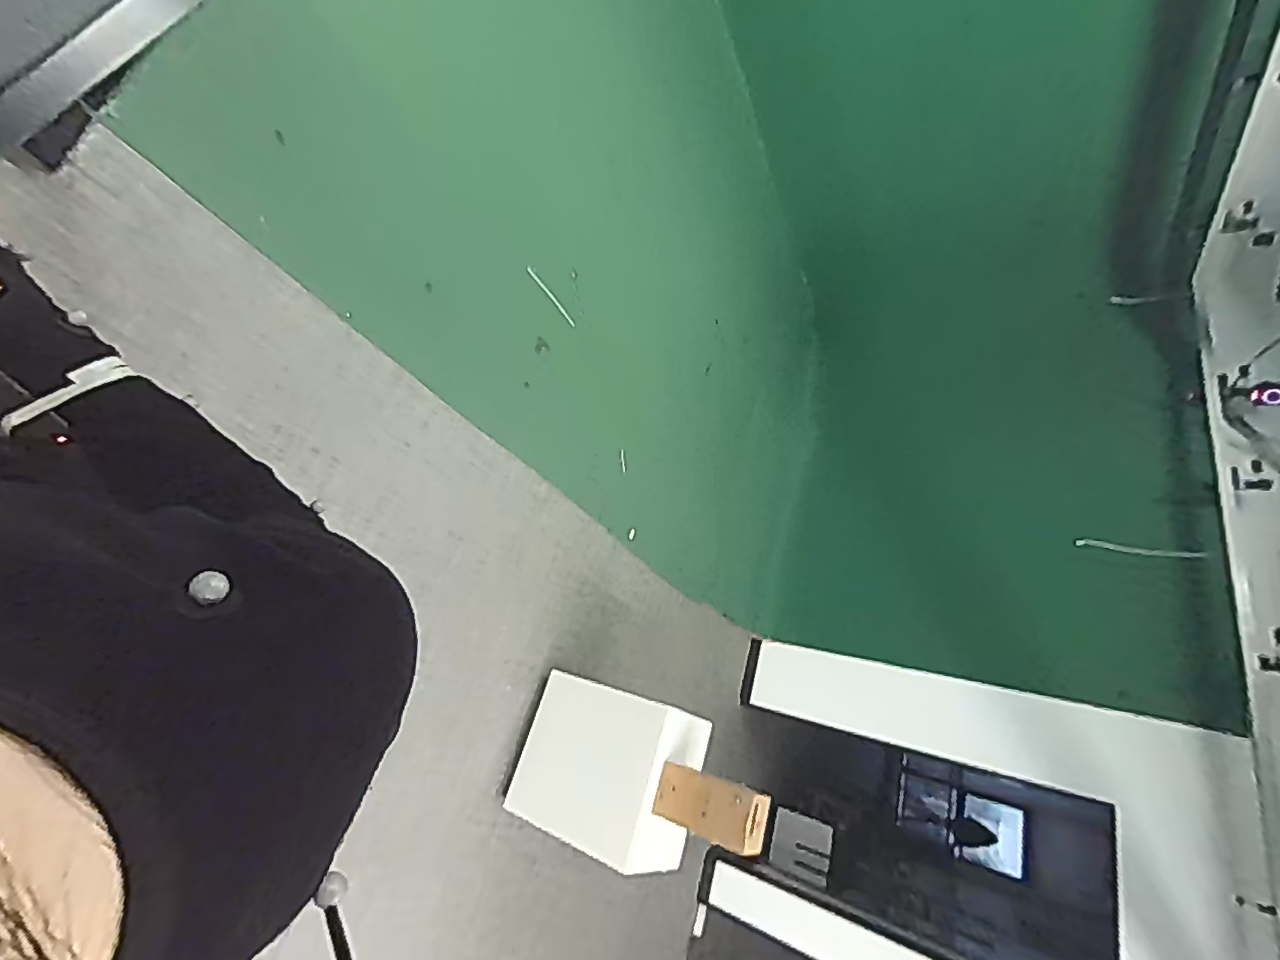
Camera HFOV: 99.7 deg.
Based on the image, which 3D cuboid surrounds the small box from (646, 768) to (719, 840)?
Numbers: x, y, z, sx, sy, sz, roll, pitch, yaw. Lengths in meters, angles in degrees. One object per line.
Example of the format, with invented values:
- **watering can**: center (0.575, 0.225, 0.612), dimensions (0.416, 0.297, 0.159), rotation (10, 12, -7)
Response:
- **small box**: center (0.145, 1.091, 1.825), dimensions (0.179, 0.176, 0.168), rotation (46, 54, -48)
